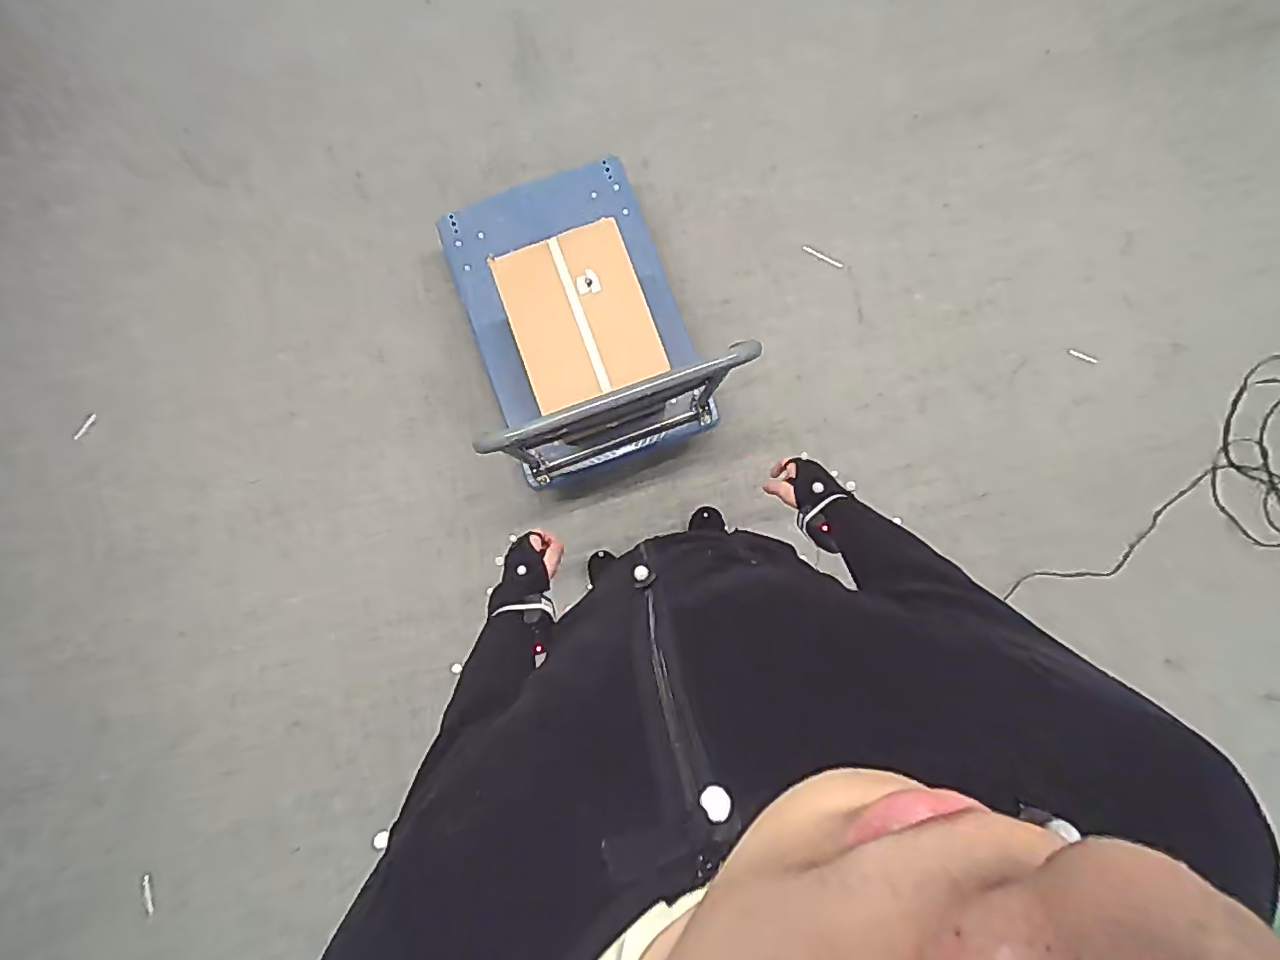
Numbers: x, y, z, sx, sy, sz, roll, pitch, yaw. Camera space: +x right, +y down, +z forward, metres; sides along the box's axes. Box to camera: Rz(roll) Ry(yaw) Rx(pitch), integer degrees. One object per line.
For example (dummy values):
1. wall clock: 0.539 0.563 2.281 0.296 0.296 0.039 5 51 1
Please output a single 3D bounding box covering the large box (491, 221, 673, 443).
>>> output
1. large box: -0.131 -0.352 1.380 0.320 0.320 0.408 -20 83 -2
